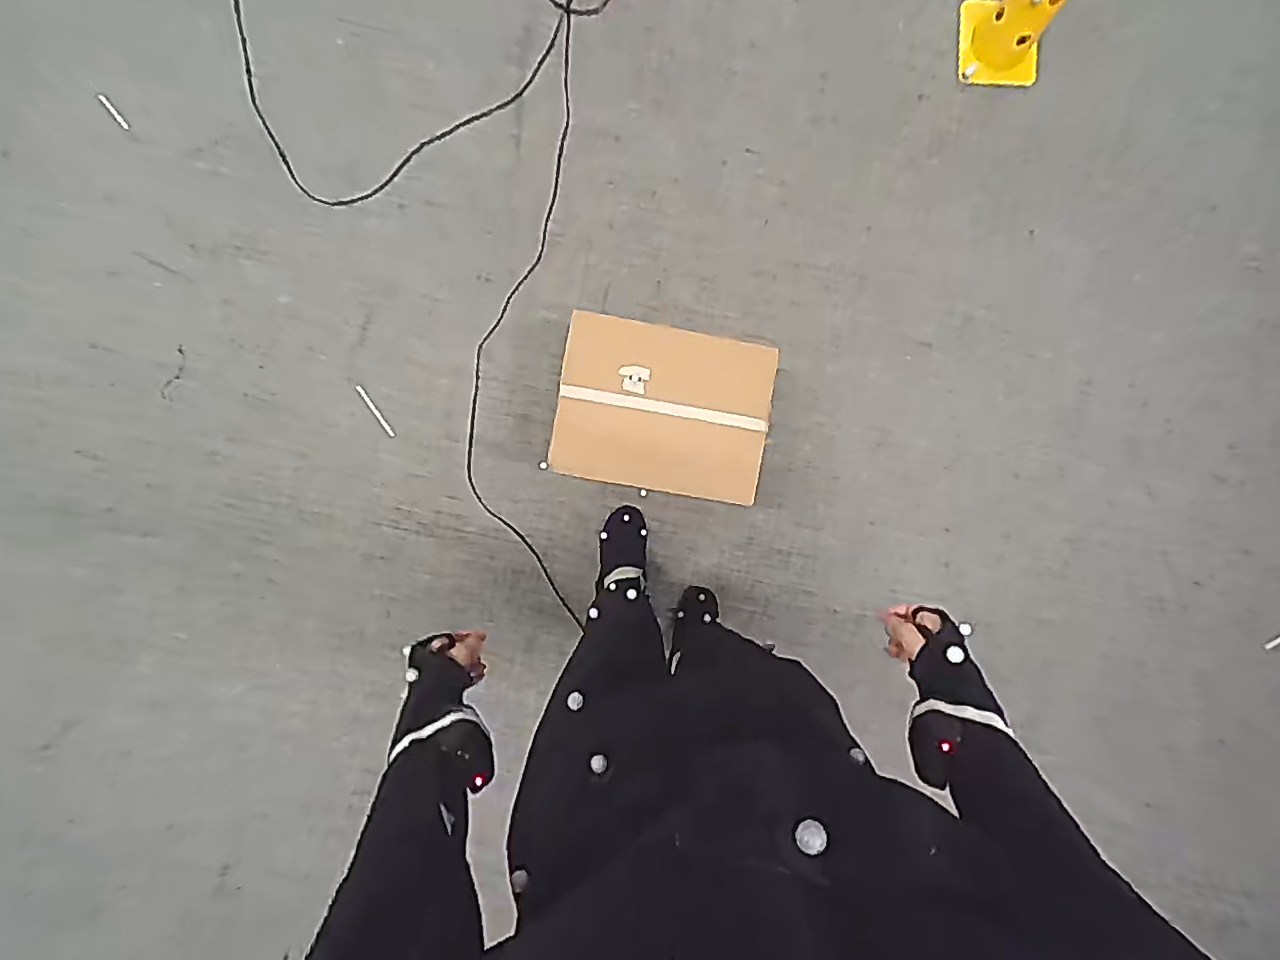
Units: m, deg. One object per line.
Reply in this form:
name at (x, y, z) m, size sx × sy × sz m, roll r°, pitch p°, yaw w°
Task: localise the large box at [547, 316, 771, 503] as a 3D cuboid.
large box at (0.033, -0.137, 1.184) m, size 0.408 × 0.320 × 0.320 m, roll 9°, pitch 90°, yaw -3°
